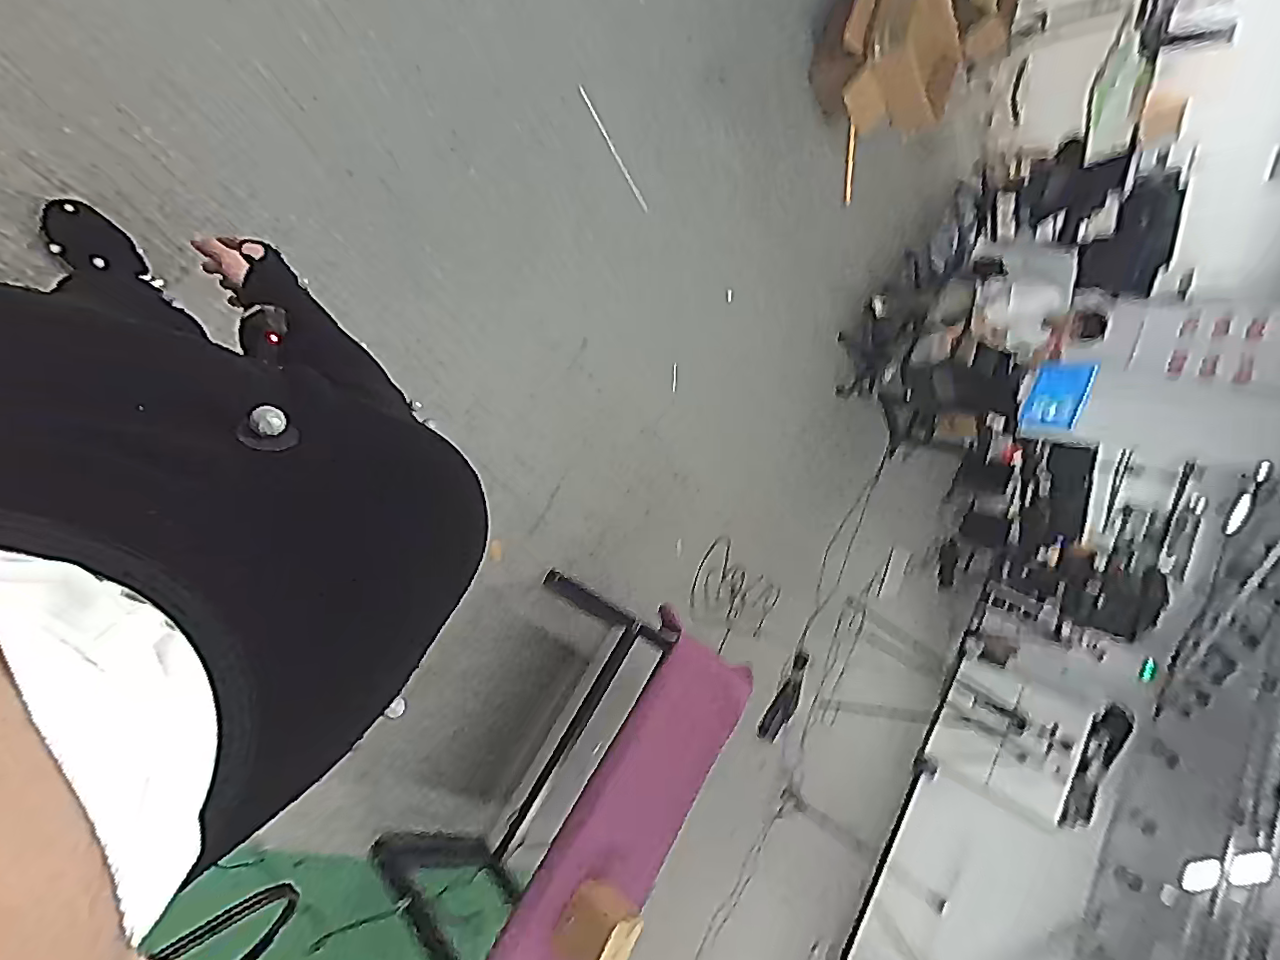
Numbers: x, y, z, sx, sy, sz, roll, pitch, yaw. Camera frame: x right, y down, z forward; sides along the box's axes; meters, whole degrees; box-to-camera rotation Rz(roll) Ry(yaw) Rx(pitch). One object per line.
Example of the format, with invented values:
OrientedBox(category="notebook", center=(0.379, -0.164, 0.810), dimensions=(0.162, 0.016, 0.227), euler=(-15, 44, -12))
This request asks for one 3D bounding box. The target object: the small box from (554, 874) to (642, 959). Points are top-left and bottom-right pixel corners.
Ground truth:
OrientedBox(category="small box", center=(-0.132, 1.328, 1.618), dimensions=(0.179, 0.176, 0.168), euler=(-58, 137, -14))
